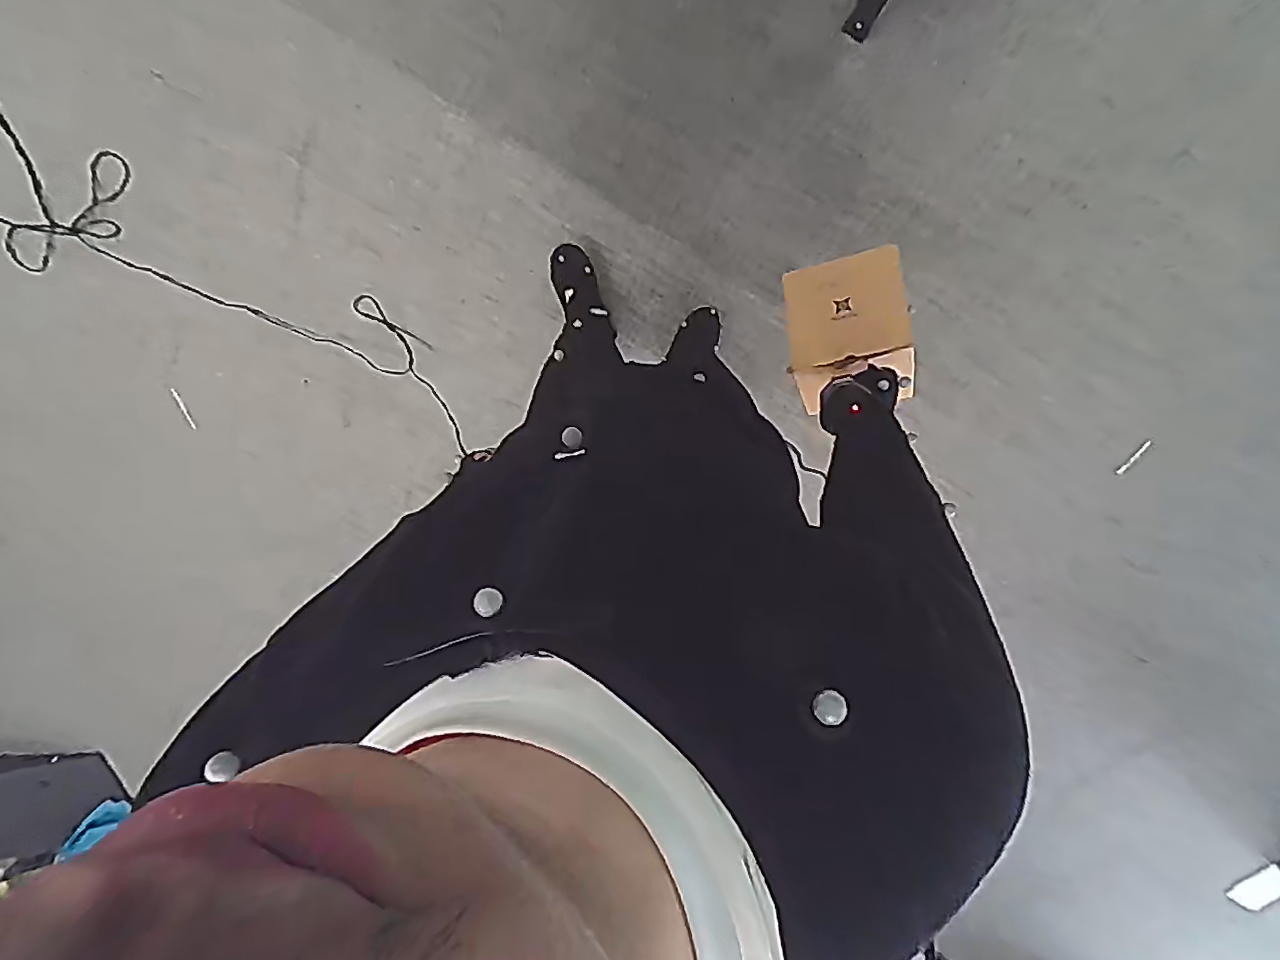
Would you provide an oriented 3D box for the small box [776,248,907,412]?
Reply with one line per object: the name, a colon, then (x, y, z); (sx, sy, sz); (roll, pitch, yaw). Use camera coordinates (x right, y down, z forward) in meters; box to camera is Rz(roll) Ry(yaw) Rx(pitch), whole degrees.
small box: (0.320, -0.220, 0.853); (0.168, 0.176, 0.179); (-9, 68, 22)
